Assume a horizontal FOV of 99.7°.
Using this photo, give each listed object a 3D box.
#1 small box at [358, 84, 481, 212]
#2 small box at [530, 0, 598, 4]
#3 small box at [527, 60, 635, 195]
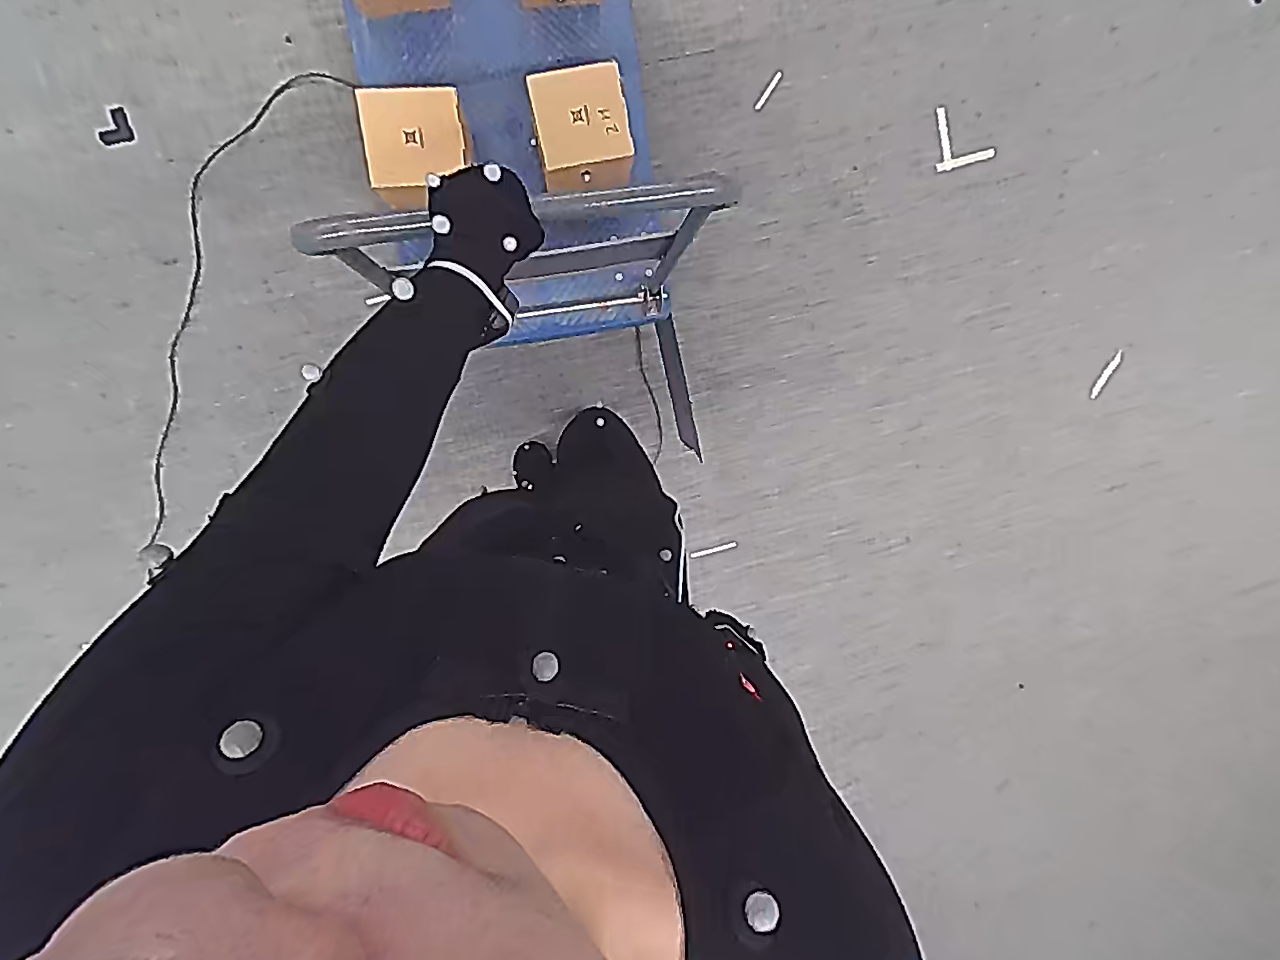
[{"bbox_3d":[-0.419,-0.637,1.057,0.179,0.176,0.168,-7,100,-8],"label":"small box"},{"bbox_3d":[-0.156,-1.054,1.021,0.168,0.176,0.179,-8,102,-7],"label":"small box"},{"bbox_3d":[-0.117,-0.696,1.088,0.179,0.176,0.168,-13,101,-5],"label":"small box"}]
